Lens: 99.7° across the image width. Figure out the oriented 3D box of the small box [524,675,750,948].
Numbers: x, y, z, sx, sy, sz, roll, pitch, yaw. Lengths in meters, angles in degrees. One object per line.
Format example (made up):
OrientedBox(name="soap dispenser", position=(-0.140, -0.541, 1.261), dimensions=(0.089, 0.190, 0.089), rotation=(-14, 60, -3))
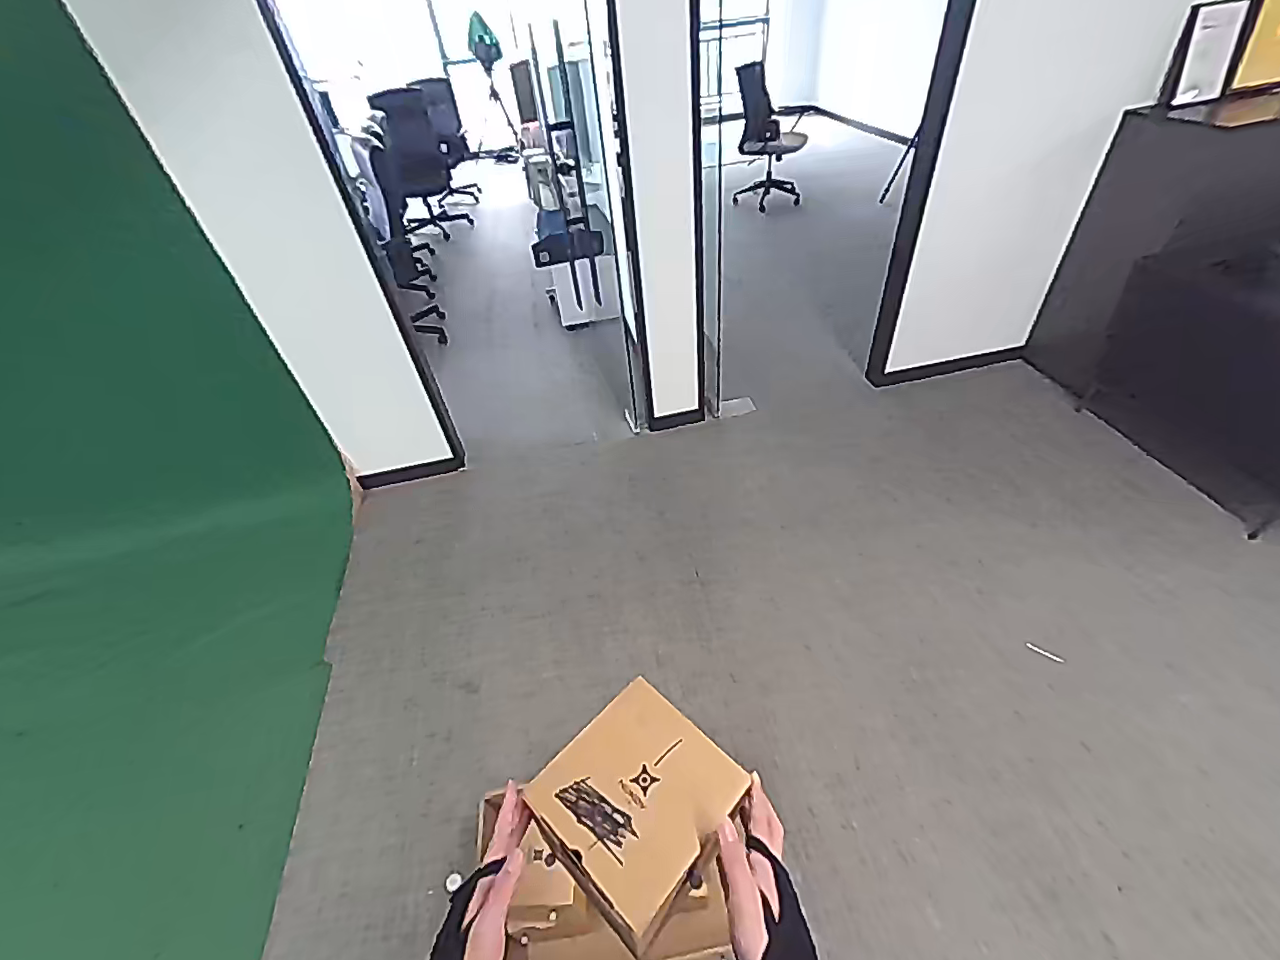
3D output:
OrientedBox(name="small box", position=(-0.001, 0.366, 0.602), dimensions=(0.168, 0.176, 0.179), rotation=(34, 52, 31))
